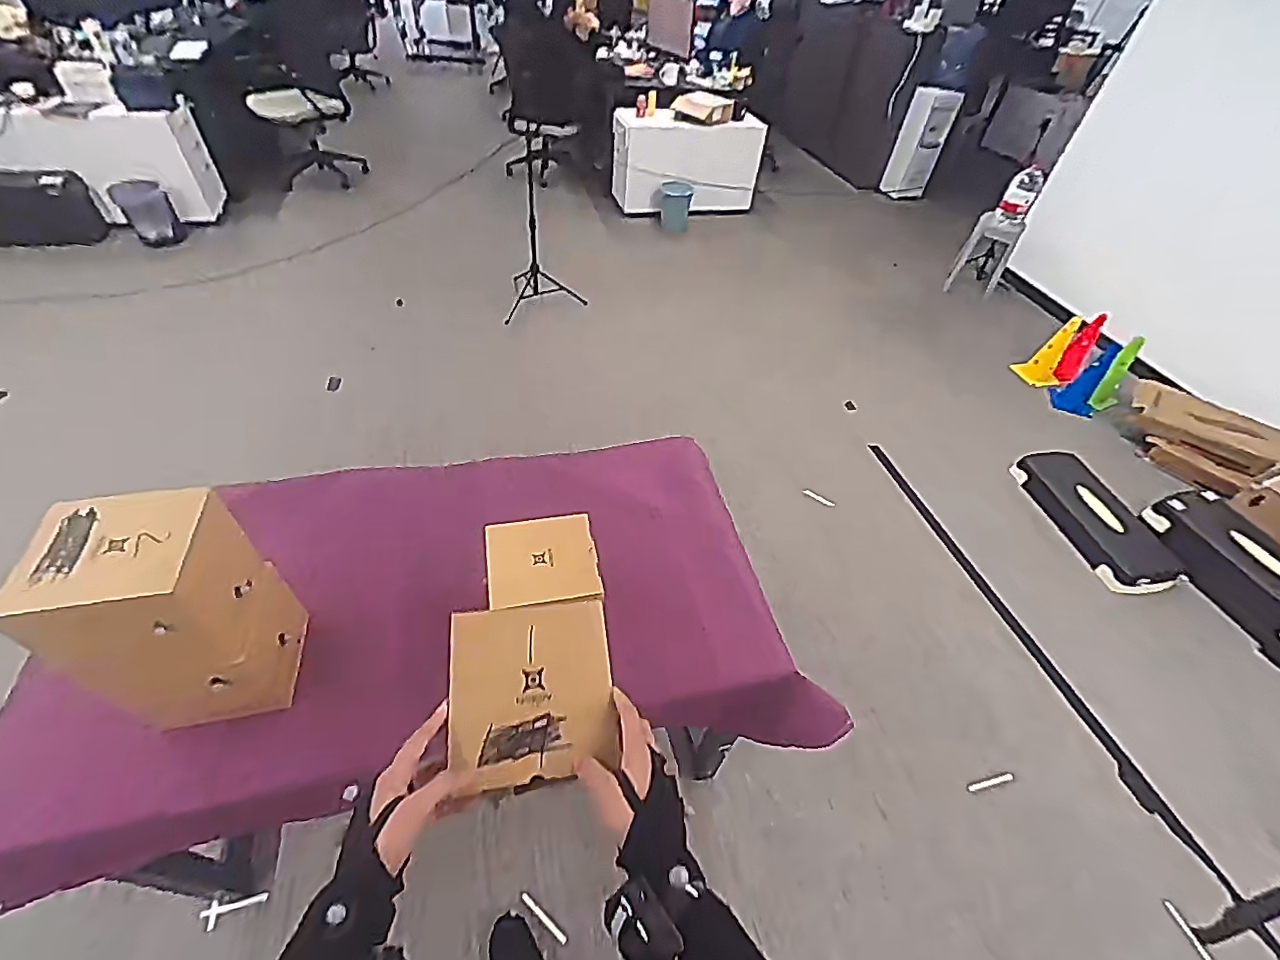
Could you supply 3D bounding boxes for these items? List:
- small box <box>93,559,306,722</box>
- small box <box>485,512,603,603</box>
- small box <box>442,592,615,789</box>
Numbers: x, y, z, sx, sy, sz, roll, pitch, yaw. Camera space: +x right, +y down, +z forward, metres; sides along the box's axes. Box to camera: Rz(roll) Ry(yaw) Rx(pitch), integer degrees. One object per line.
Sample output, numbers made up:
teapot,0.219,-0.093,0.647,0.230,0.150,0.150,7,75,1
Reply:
small box,-0.633,0.241,0.812,0.179,0.176,0.168,-6,48,-12
small box,-0.163,0.179,0.928,0.179,0.176,0.168,-6,48,-12
small box,-0.125,0.245,0.619,0.168,0.176,0.179,-3,59,-12
